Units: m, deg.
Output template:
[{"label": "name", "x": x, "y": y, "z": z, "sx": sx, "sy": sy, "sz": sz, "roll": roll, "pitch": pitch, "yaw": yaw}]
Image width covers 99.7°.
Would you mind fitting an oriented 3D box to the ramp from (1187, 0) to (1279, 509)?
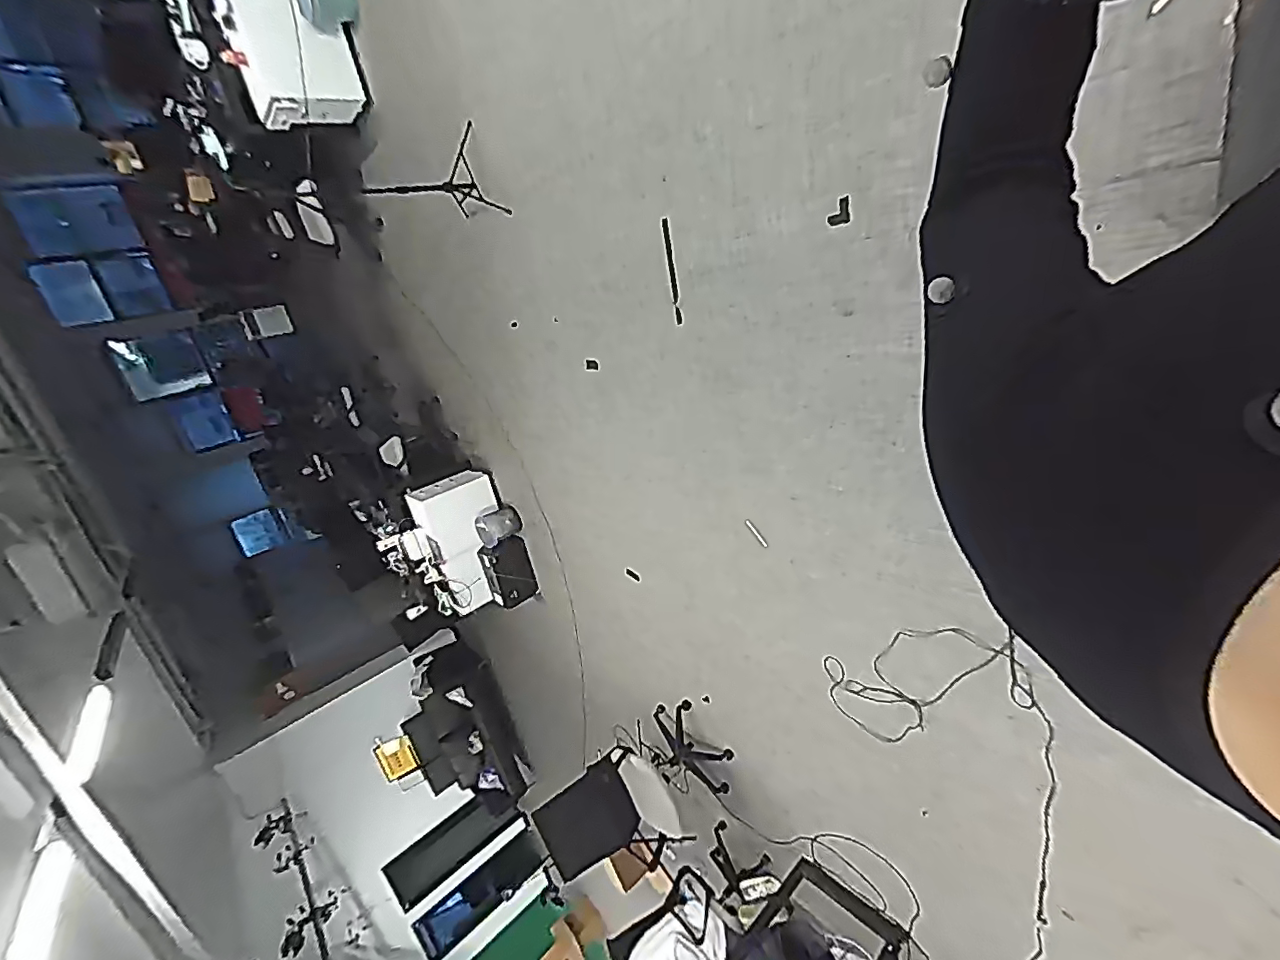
[{"label": "ramp", "x": 1.252, "y": -0.344, "z": 0.854, "sx": 0.509, "sy": 0.206, "sz": 0.991, "roll": 8, "pitch": 119, "yaw": 49}]
